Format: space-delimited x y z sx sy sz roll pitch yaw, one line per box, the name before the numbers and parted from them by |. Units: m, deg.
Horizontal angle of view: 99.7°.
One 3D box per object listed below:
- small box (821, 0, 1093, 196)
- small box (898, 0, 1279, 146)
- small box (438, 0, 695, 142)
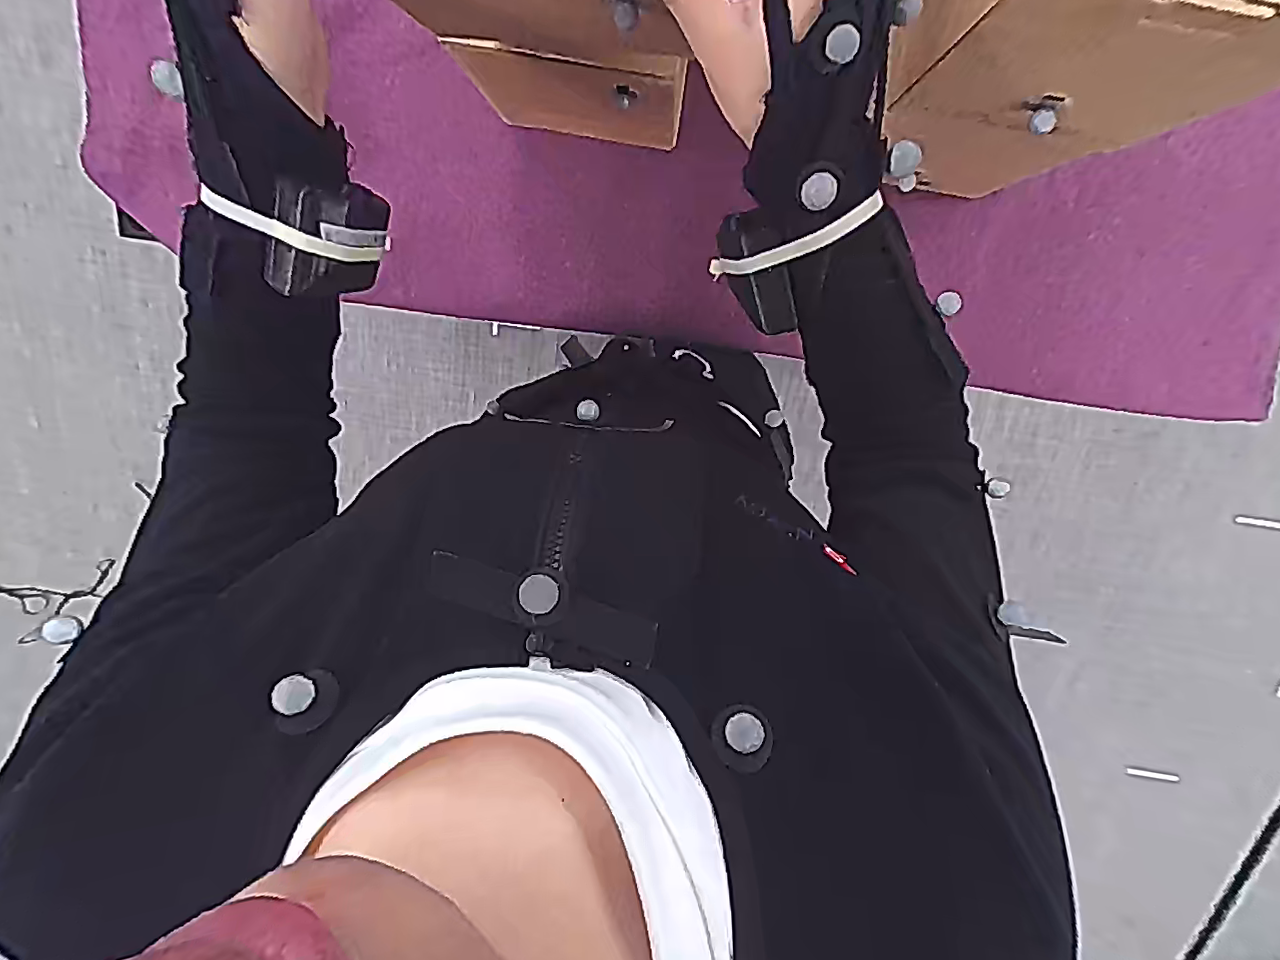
small box | 0.267 -0.359 0.444 0.168 0.176 0.179 10 107 -1
small box | 0.266 -0.311 0.286 0.168 0.176 0.179 10 107 0
small box | -0.045 -0.403 0.443 0.179 0.176 0.168 8 106 -1
